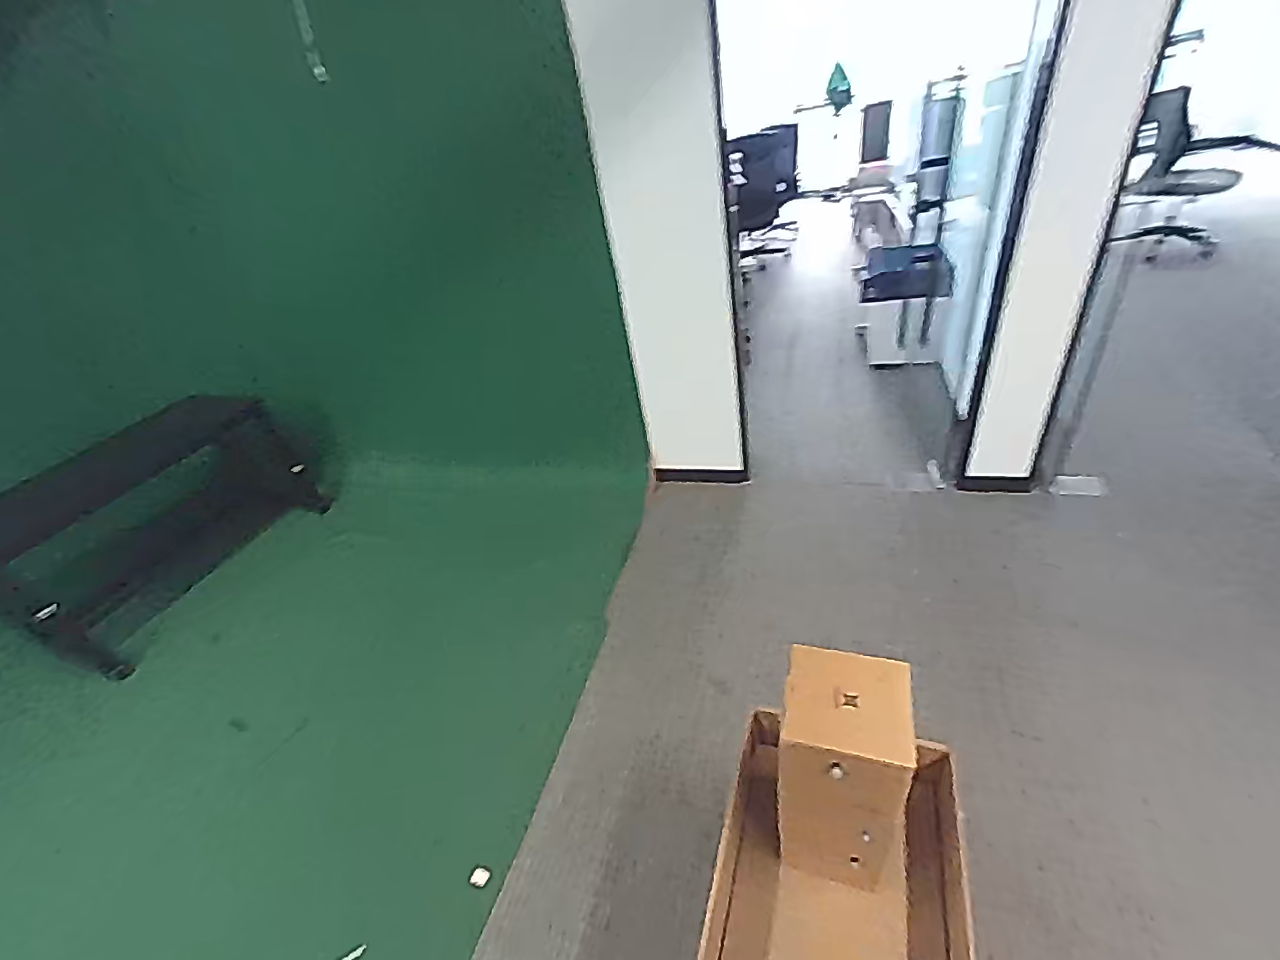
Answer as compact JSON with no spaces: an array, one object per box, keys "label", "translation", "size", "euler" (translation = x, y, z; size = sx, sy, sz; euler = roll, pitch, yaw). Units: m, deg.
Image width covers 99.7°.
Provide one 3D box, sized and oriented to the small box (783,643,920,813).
[{"label":"small box","translation":[0.321,0.383,0.837],"size":[0.179,0.176,0.168],"euler":[4,39,20]}]
